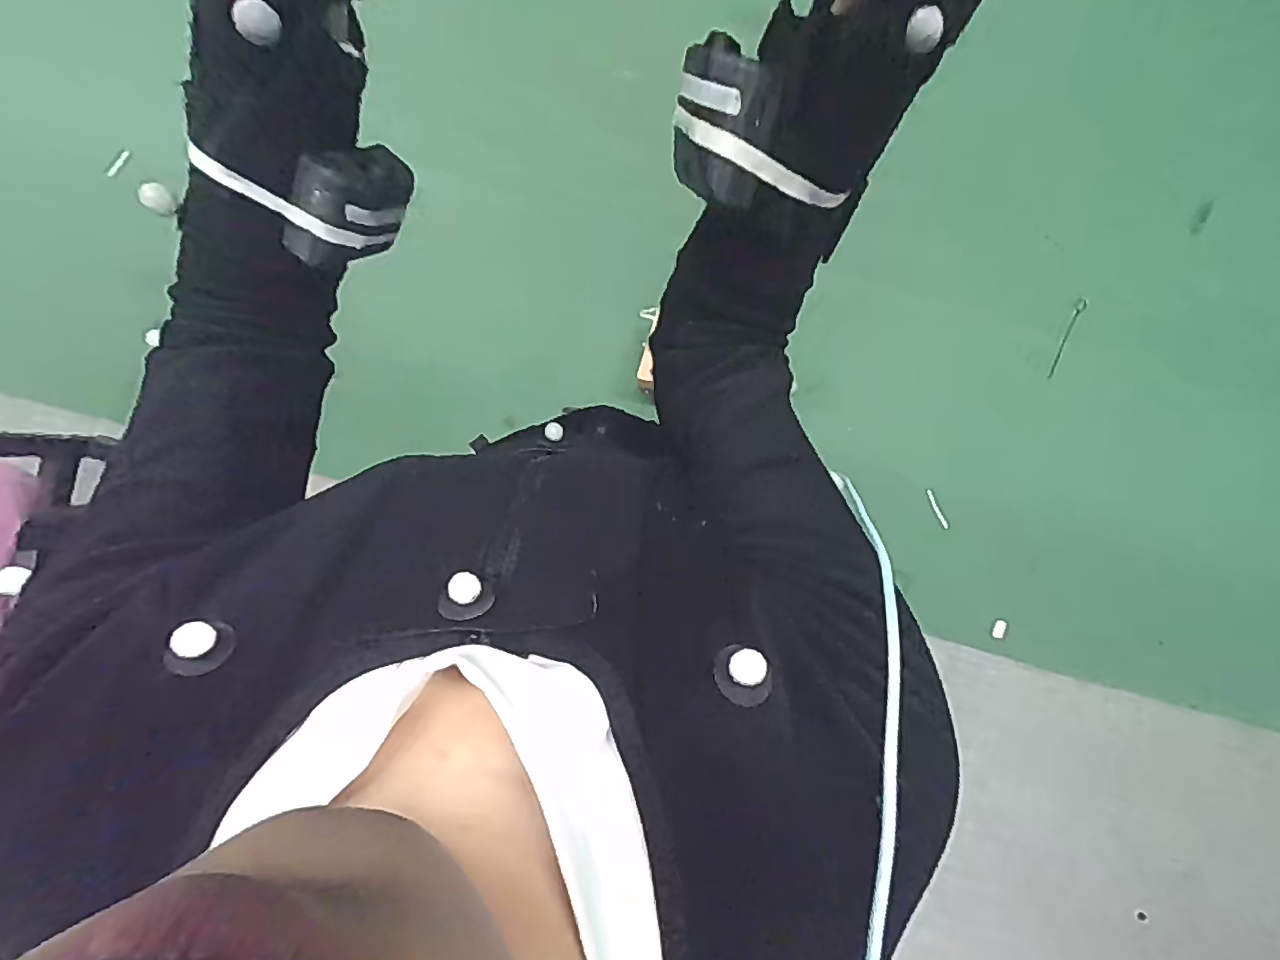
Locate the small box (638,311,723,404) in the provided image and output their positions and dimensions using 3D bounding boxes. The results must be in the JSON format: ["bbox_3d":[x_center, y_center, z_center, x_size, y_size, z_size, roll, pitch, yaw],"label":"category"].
[{"bbox_3d":[0.100,-0.304,1.381,0.168,0.176,0.179,18,92,-1],"label":"small box"}]
